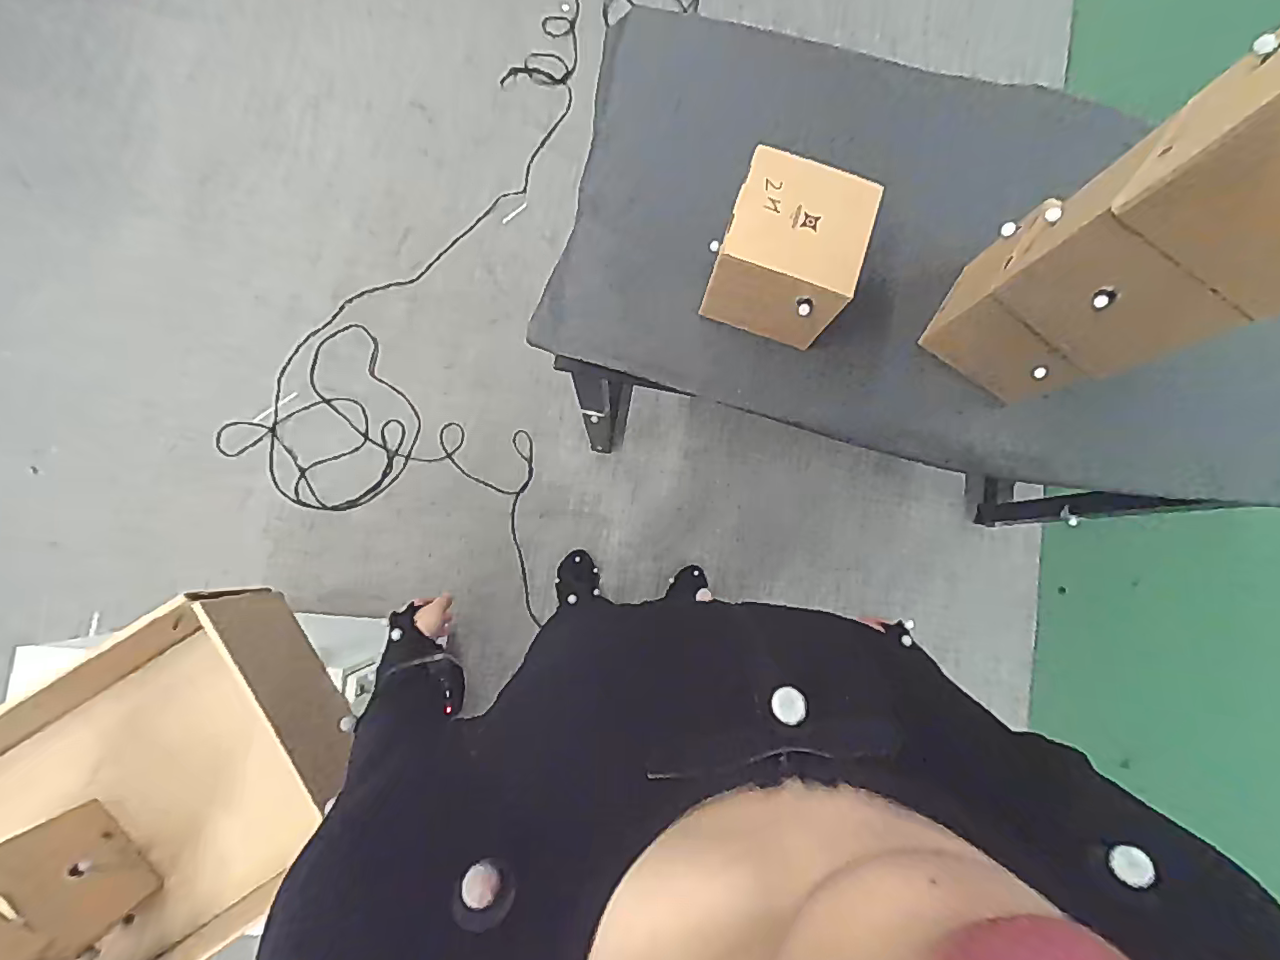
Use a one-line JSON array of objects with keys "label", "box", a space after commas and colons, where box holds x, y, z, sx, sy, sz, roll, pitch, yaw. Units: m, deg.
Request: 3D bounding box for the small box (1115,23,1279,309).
[{"label": "small box", "box": [0.554, -0.274, 0.435, 0.179, 0.176, 0.168, 40, 81, 3]}]

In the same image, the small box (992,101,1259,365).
[{"label": "small box", "box": [0.549, -0.250, 0.596, 0.179, 0.176, 0.168, 42, 82, 4]}]

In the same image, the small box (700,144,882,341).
[{"label": "small box", "box": [0.199, -0.315, 0.757, 0.179, 0.176, 0.168, 19, 80, 1]}]
